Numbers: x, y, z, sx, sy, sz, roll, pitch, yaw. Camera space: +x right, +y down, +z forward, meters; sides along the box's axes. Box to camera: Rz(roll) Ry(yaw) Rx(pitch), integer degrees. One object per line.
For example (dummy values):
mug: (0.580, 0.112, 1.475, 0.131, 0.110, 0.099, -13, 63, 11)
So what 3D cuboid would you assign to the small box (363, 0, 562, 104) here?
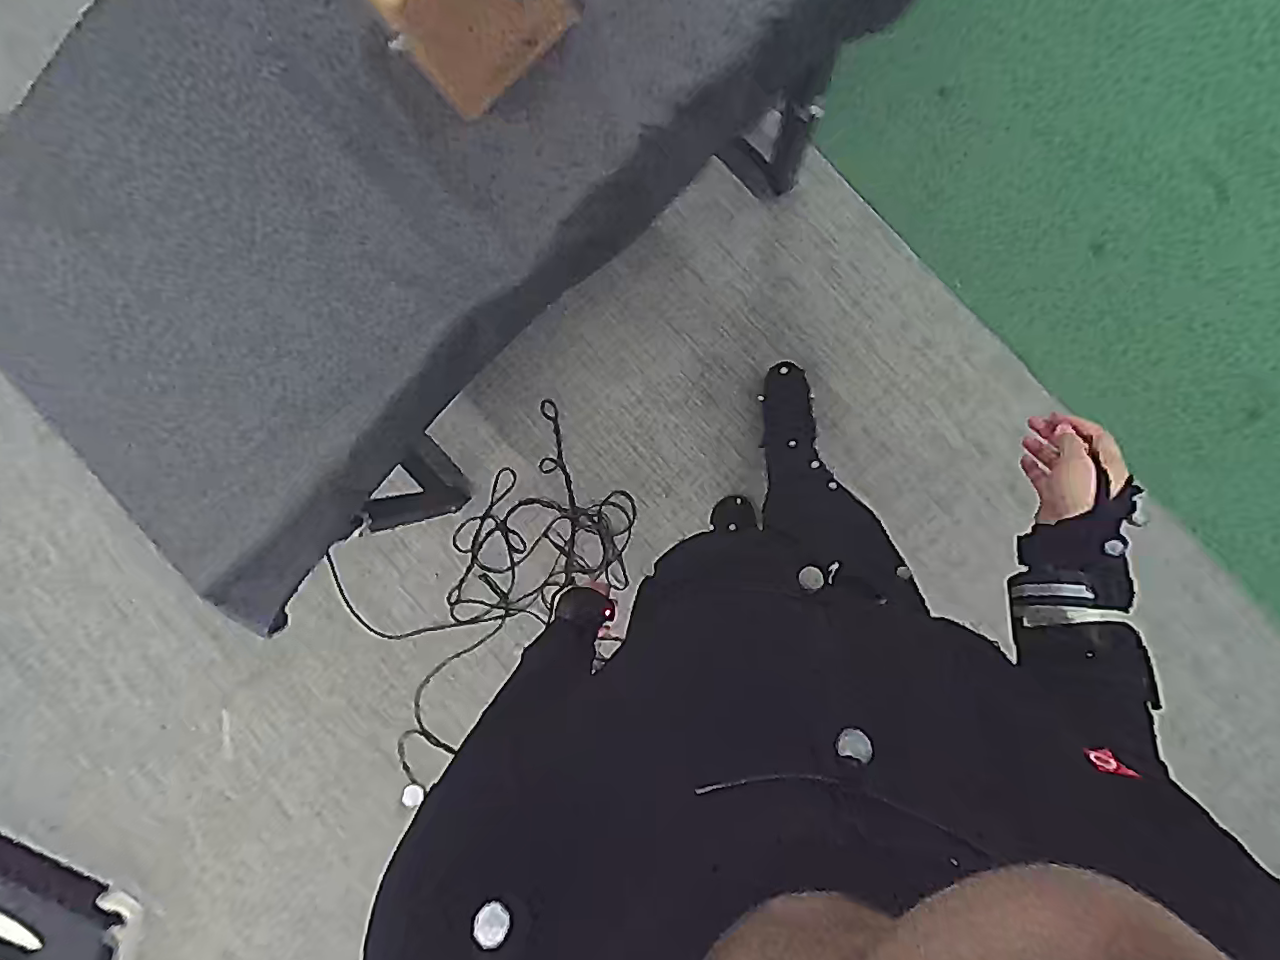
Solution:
small box: (-0.204, -0.527, 0.540, 0.168, 0.176, 0.179, -41, 87, 6)
